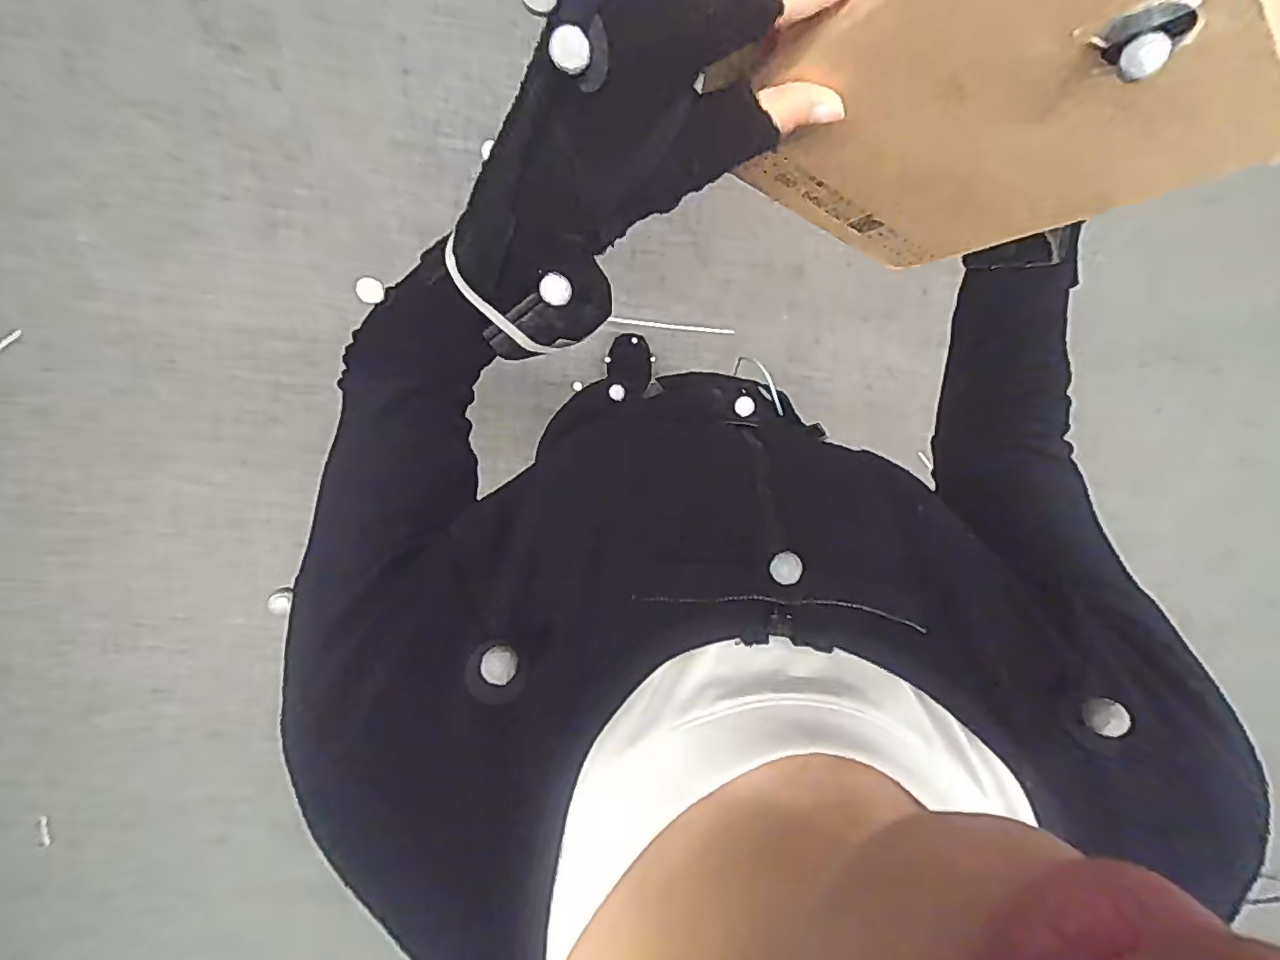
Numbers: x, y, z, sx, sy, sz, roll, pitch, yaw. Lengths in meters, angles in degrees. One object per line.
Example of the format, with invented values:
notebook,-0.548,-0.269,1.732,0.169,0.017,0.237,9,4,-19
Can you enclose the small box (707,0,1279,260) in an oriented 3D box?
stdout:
small box,0.148,-0.229,0.238,0.168,0.176,0.179,11,87,-31
